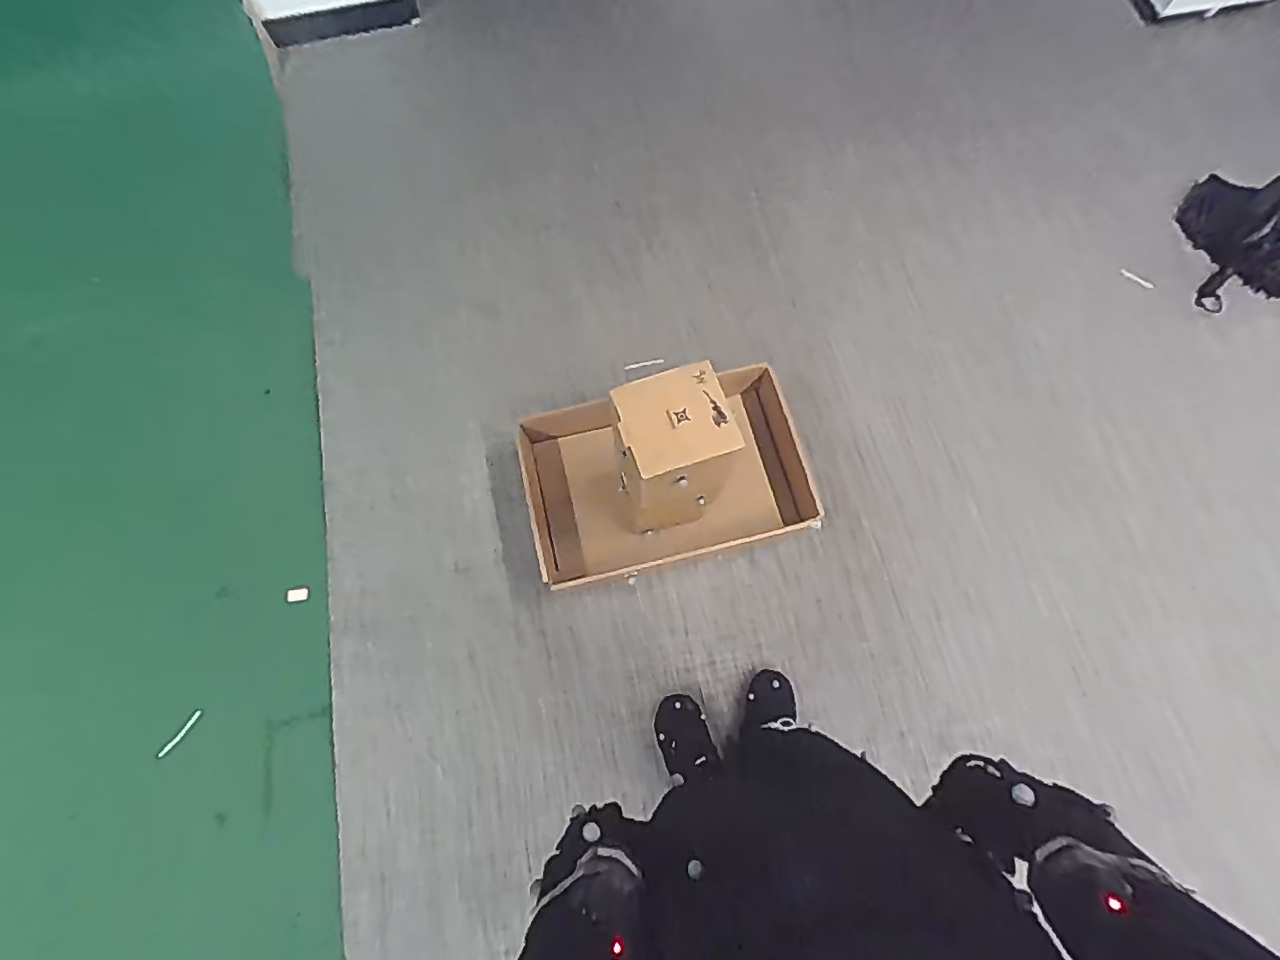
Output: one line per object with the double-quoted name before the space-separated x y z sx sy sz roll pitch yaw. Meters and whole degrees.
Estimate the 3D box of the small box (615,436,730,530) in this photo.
"small box" 0.058 -0.016 1.078 0.179 0.176 0.168 -20 73 -6

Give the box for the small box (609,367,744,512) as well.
"small box" 0.059 -0.062 0.940 0.179 0.176 0.168 -21 71 -7

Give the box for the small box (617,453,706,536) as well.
"small box" 0.049 0.023 1.252 0.168 0.176 0.179 -14 73 -4
